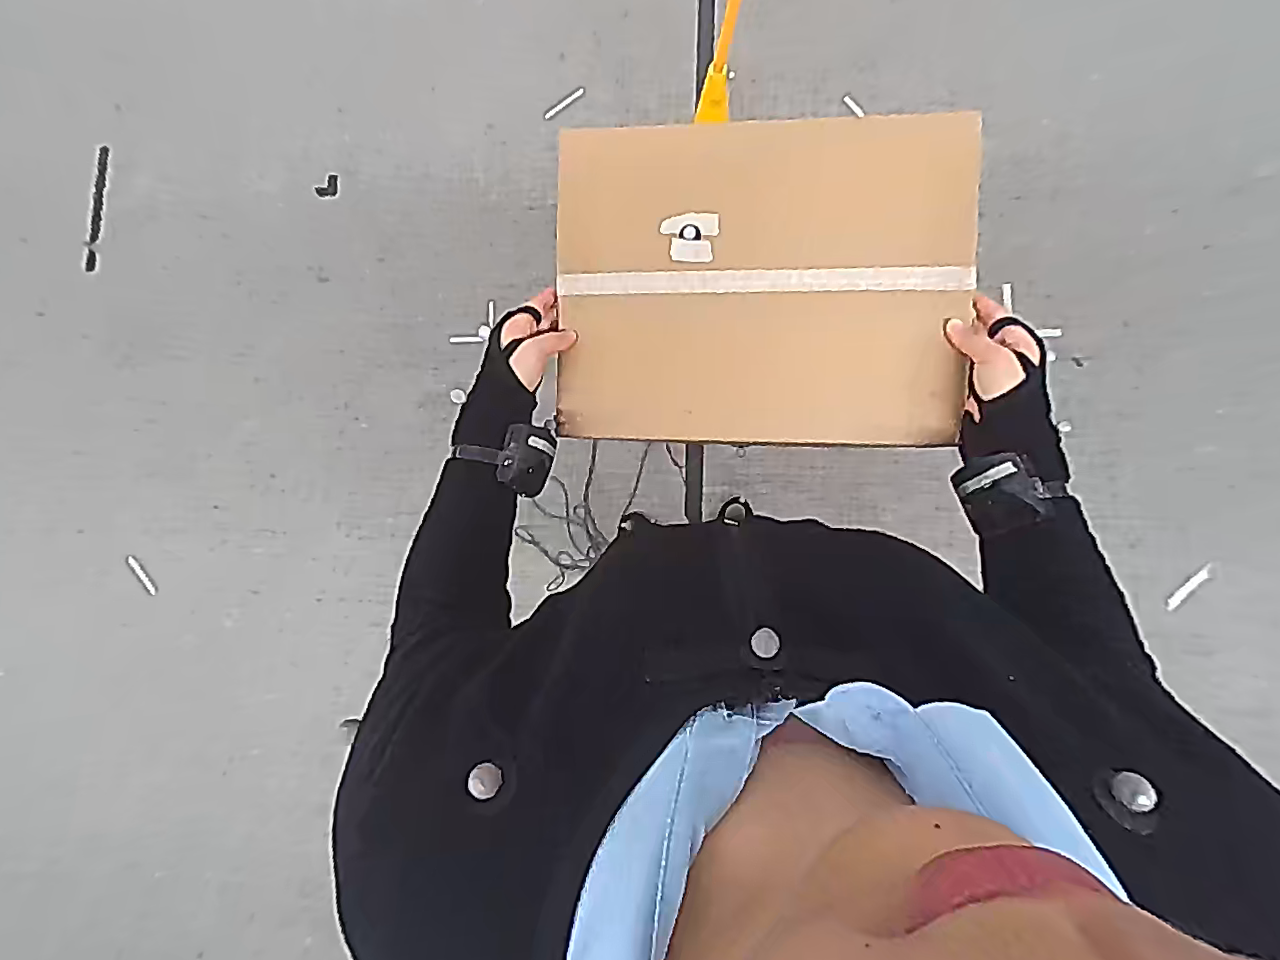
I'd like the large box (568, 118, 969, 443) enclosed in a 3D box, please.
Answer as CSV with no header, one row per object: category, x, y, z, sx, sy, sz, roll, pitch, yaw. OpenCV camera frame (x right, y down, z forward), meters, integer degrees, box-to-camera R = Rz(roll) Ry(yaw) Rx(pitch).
large box,0.141,-0.205,0.698,0.408,0.320,0.320,1,92,7
